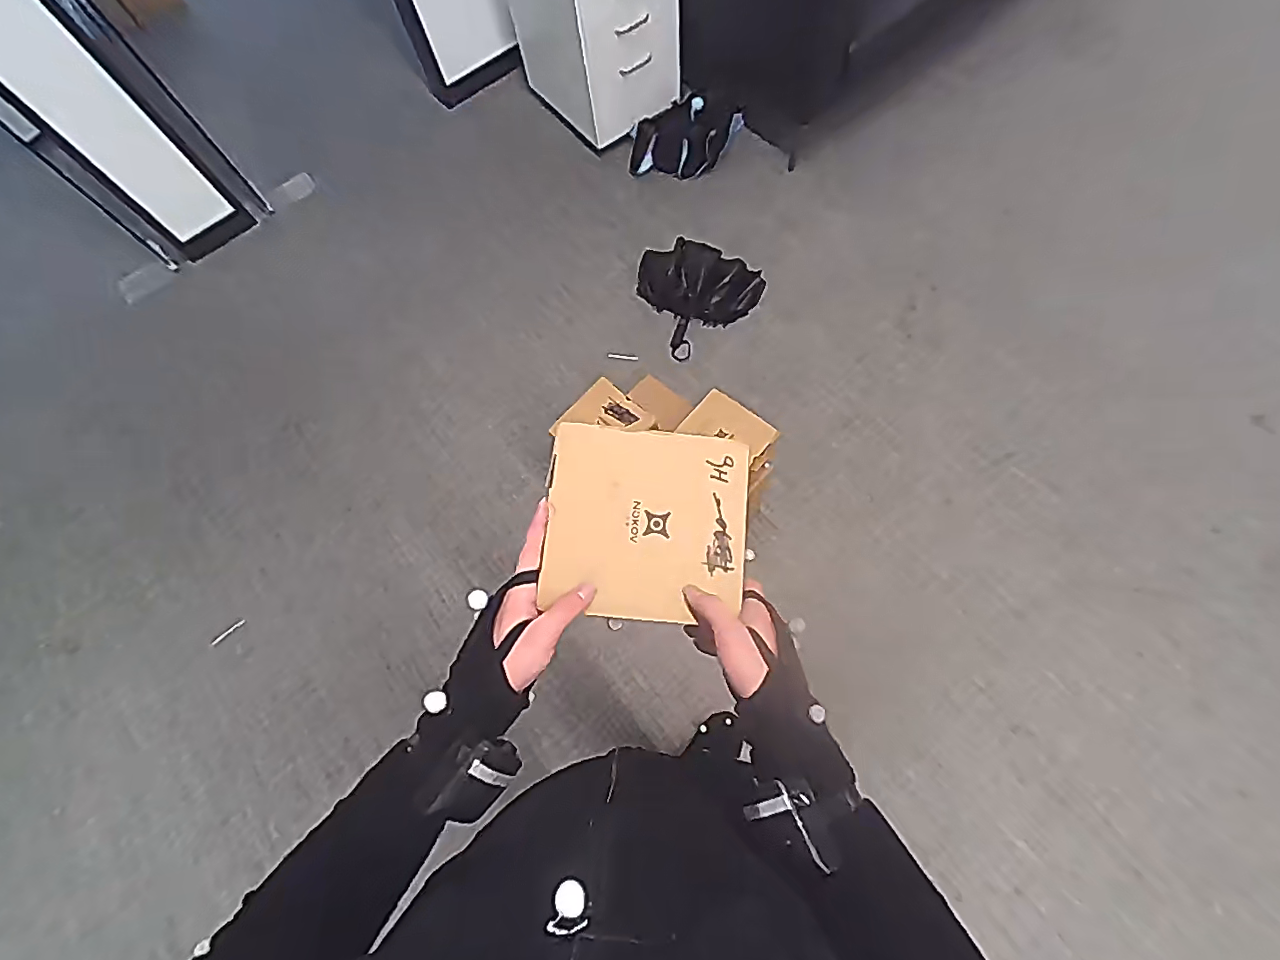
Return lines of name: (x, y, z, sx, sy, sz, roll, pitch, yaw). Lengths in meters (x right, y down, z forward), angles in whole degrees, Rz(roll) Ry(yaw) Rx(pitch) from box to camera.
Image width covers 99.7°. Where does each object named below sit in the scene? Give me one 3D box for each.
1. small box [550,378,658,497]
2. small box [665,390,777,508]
small box: (-0.071, -0.091, 1.233, 0.168, 0.176, 0.179, 41, 81, 19)
small box: (0.175, -0.058, 1.196, 0.179, 0.176, 0.168, 37, 73, 19)
